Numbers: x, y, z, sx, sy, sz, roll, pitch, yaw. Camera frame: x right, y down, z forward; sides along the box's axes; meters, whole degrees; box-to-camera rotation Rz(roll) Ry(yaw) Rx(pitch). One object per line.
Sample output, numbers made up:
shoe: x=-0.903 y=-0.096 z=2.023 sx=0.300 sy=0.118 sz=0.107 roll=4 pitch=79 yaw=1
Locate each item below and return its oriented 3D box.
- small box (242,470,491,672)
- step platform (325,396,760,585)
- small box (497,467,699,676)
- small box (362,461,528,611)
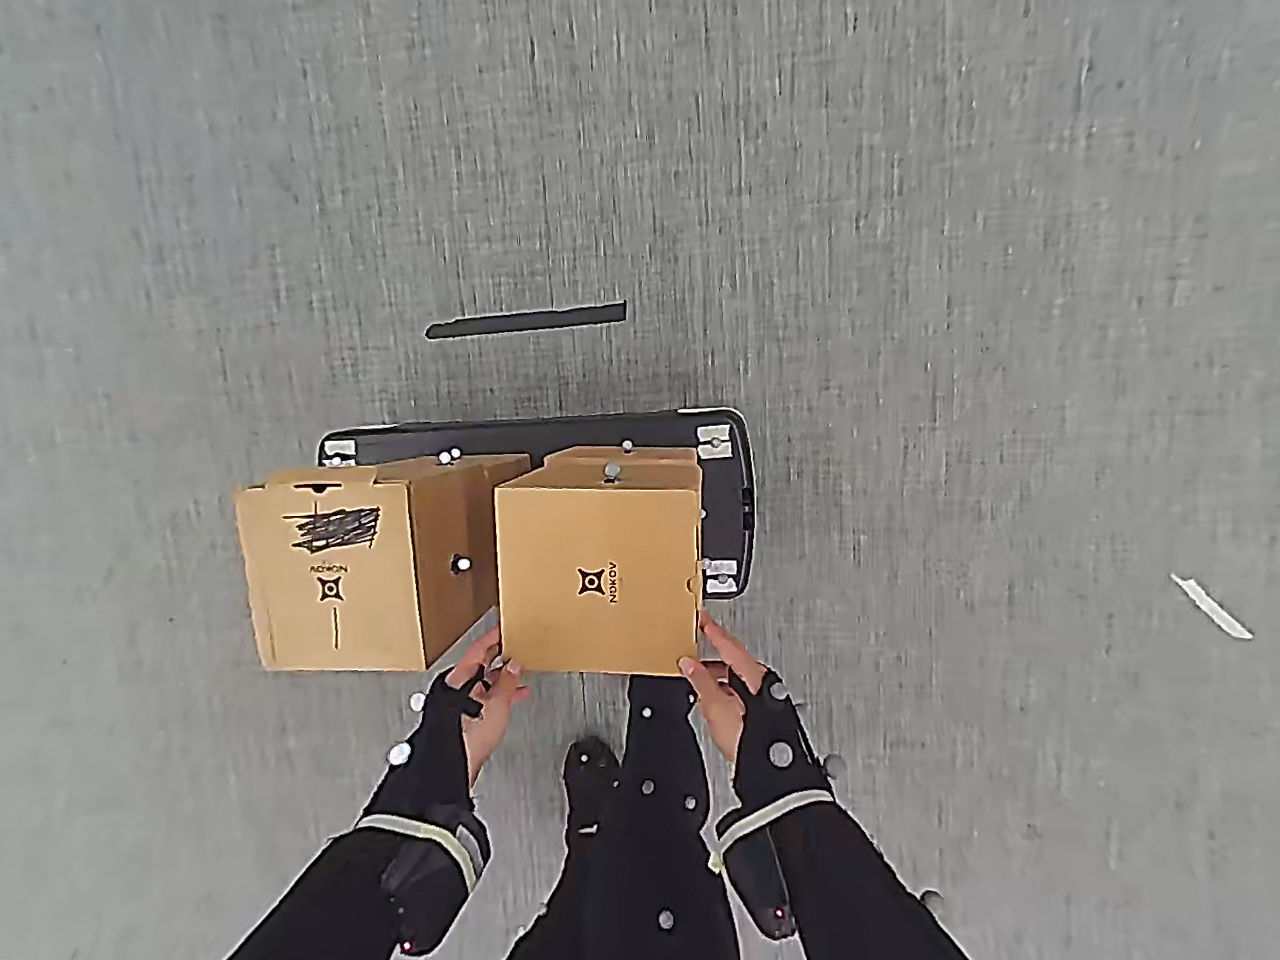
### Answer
small box: x=-0.267 y=0.081 z=0.567 sx=0.168 sy=0.176 sz=0.179 roll=-2 pitch=97 yaw=6
step platform: x=-0.151 y=0.022 z=0.890 sx=0.684 sy=0.204 sz=0.286 roll=-3 pitch=96 yaw=6
small box: x=-0.030 y=0.078 z=0.546 sx=0.179 sy=0.176 sz=0.168 roll=0 pitch=97 yaw=5
small box: x=-0.249 y=0.064 z=0.730 sx=0.168 sy=0.176 sz=0.179 roll=-1 pitch=97 yaw=6
